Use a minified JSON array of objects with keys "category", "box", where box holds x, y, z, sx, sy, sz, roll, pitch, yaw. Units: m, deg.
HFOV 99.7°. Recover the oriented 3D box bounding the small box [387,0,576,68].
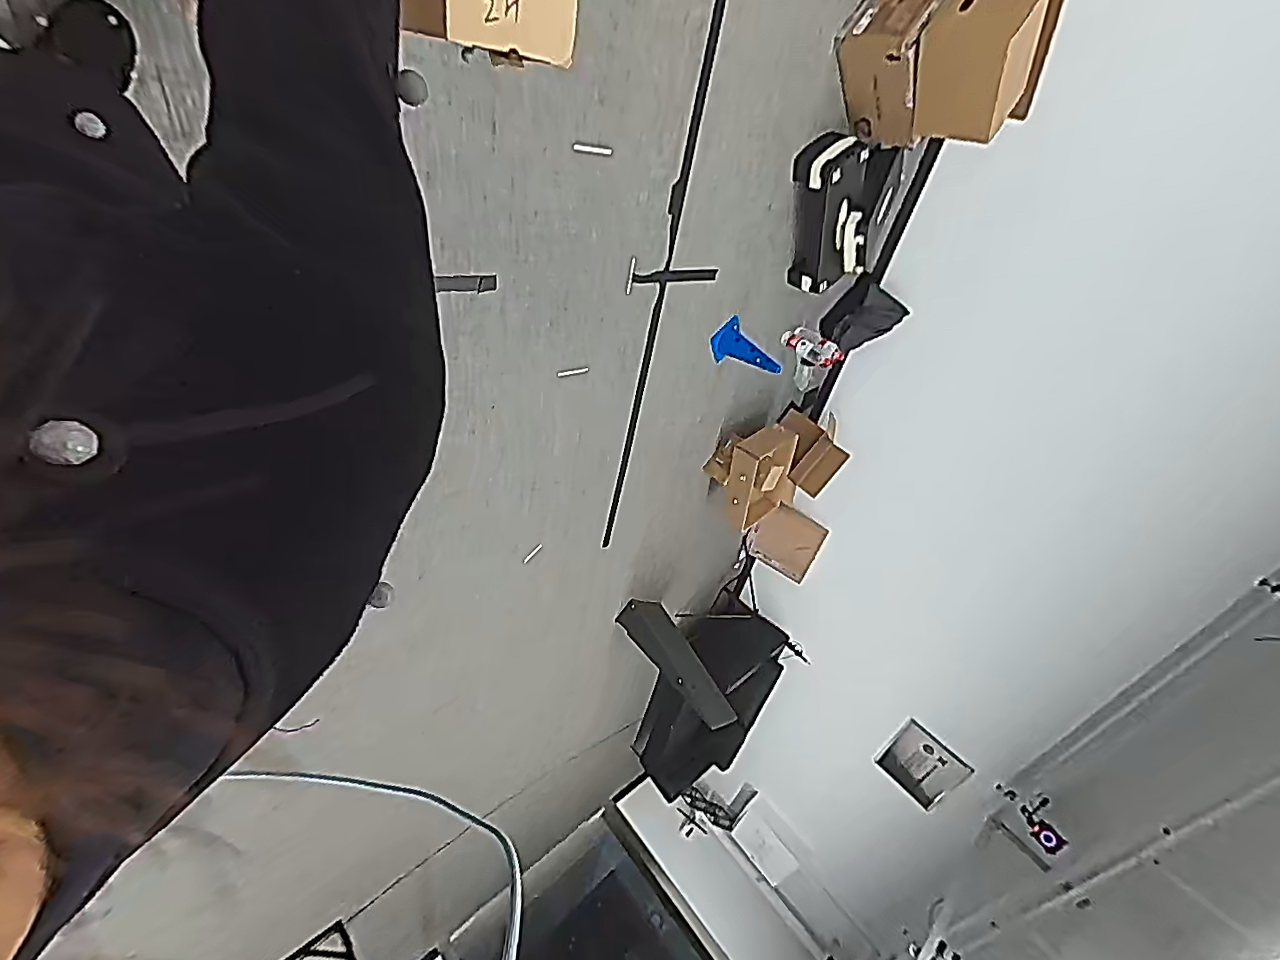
[{"category":"small box","box":[-0.185,-0.607,0.624,0.168,0.176,0.179,-20,137,-37]}]
